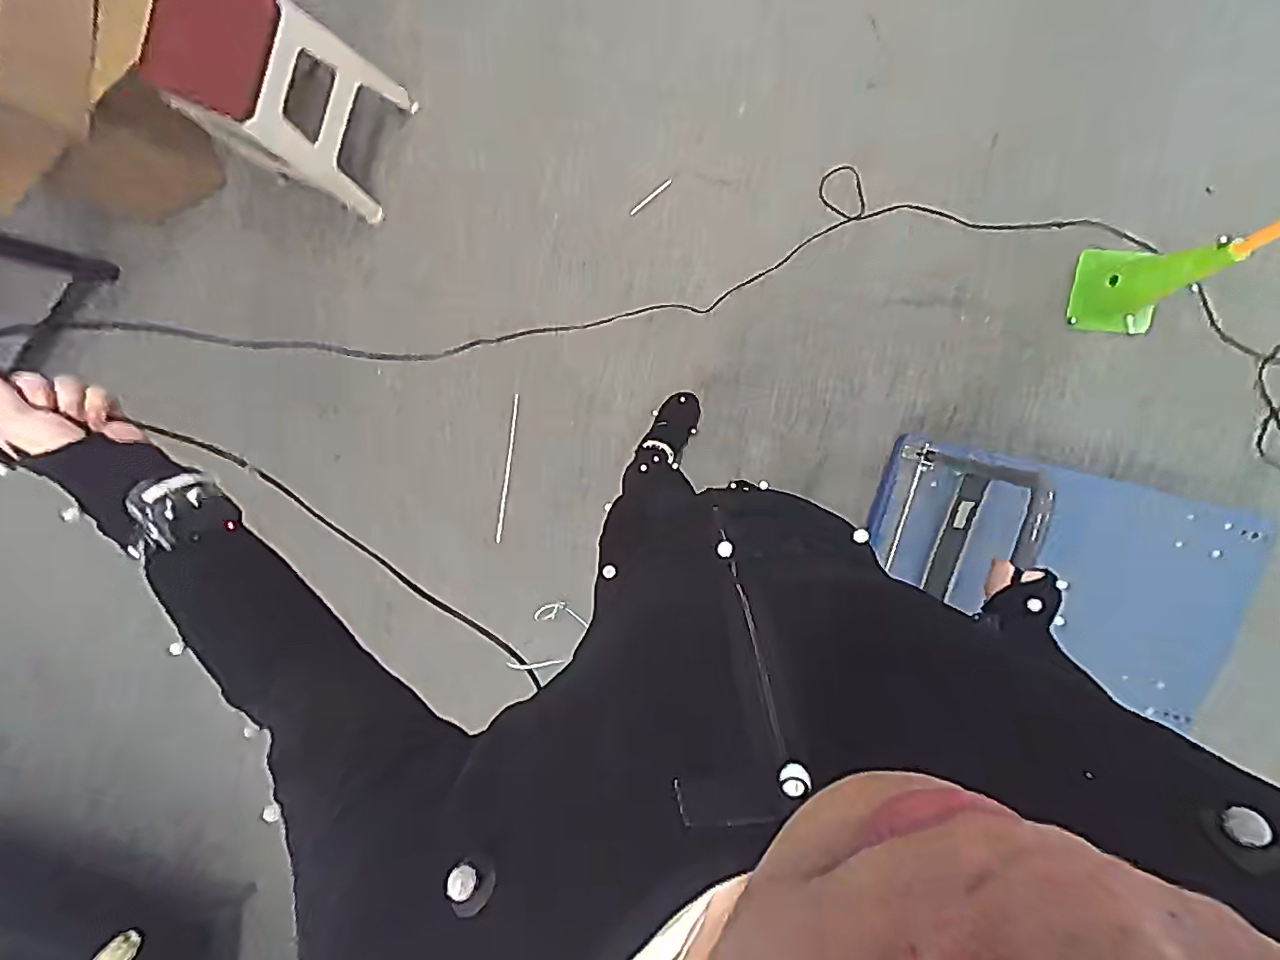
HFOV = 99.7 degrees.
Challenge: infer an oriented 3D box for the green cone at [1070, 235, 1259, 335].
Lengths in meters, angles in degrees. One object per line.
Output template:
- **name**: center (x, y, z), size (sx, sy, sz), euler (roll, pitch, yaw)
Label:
- **green cone**: center (1.204, -0.464, 1.221), size (0.200, 0.368, 0.202), euler (7, 96, 7)
